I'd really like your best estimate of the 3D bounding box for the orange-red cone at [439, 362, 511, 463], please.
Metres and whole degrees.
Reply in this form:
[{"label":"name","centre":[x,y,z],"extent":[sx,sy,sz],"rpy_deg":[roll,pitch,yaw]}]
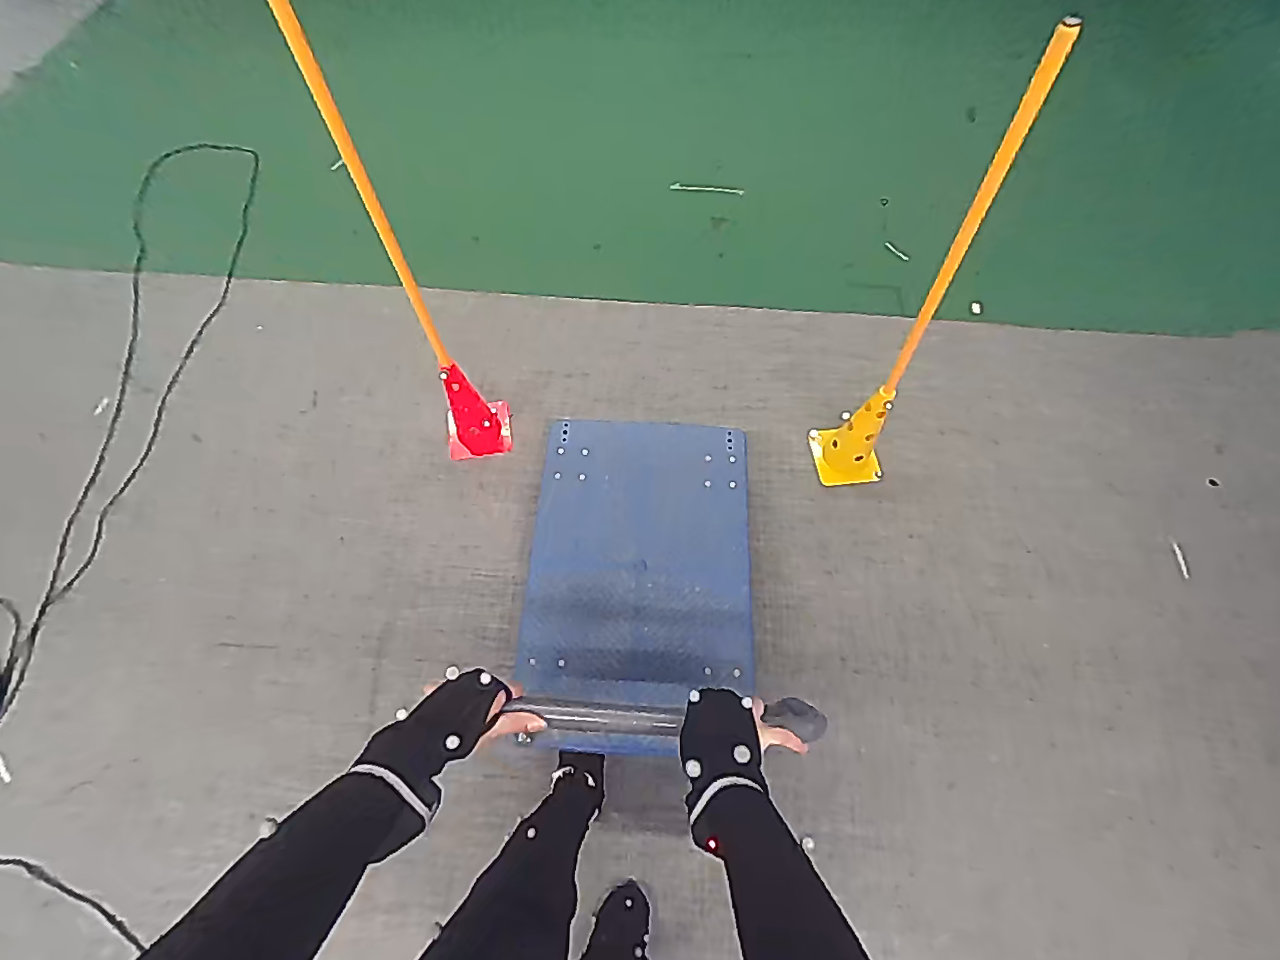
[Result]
[{"label":"orange-red cone","centre":[-0.527,-0.226,1.620],"extent":[0.199,0.360,0.198],"rpy_deg":[-10,64,-3]}]
